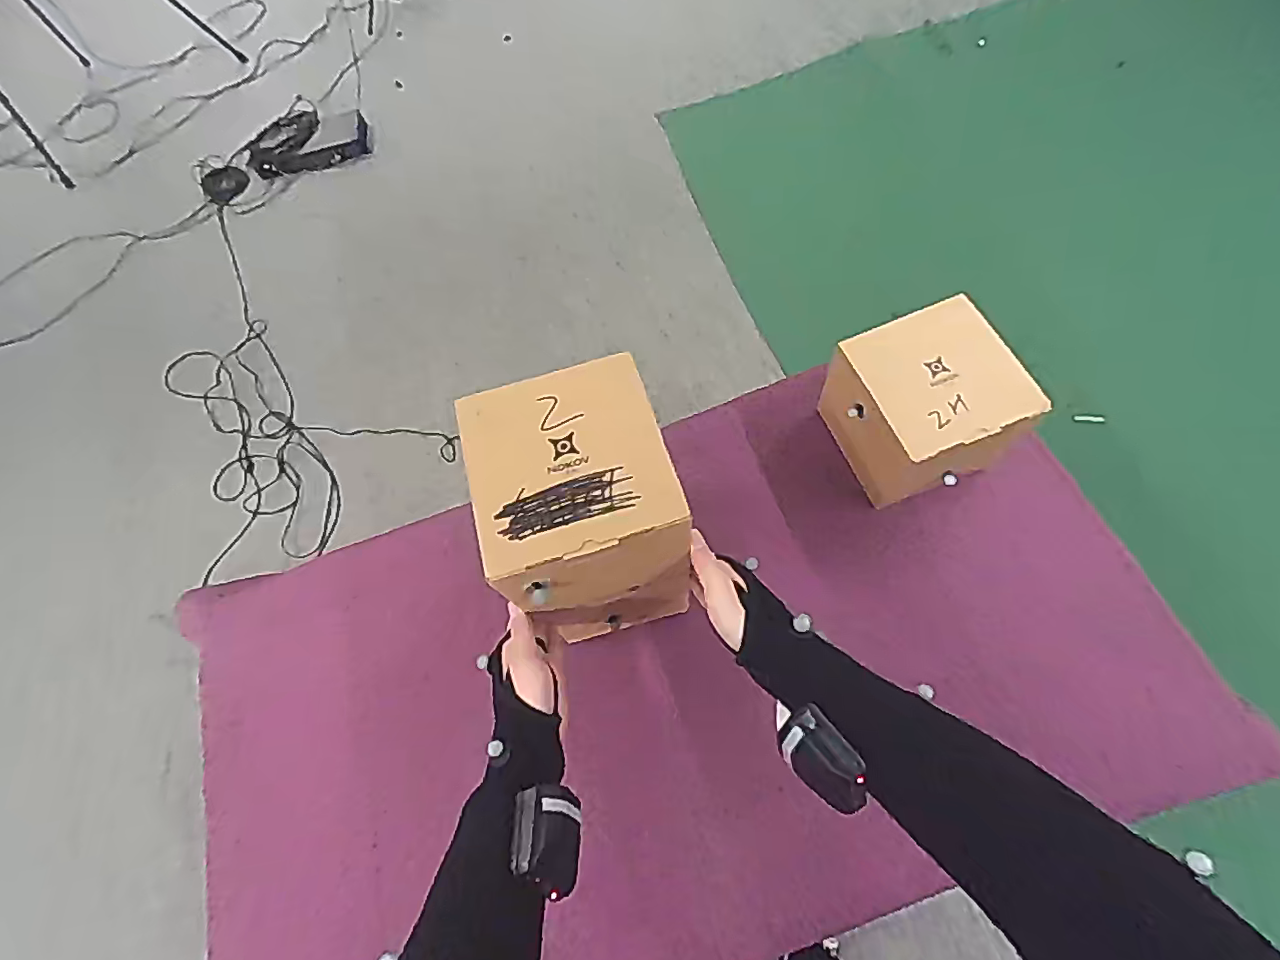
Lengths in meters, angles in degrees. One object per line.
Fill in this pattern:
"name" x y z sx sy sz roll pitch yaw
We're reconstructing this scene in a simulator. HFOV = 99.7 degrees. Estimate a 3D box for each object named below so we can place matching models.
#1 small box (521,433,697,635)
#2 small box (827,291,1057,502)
"small box" -0.037 0.072 0.661 0.168 0.176 0.179 -14 65 -4
"small box" 0.359 -0.096 0.688 0.168 0.176 0.179 -21 68 1
